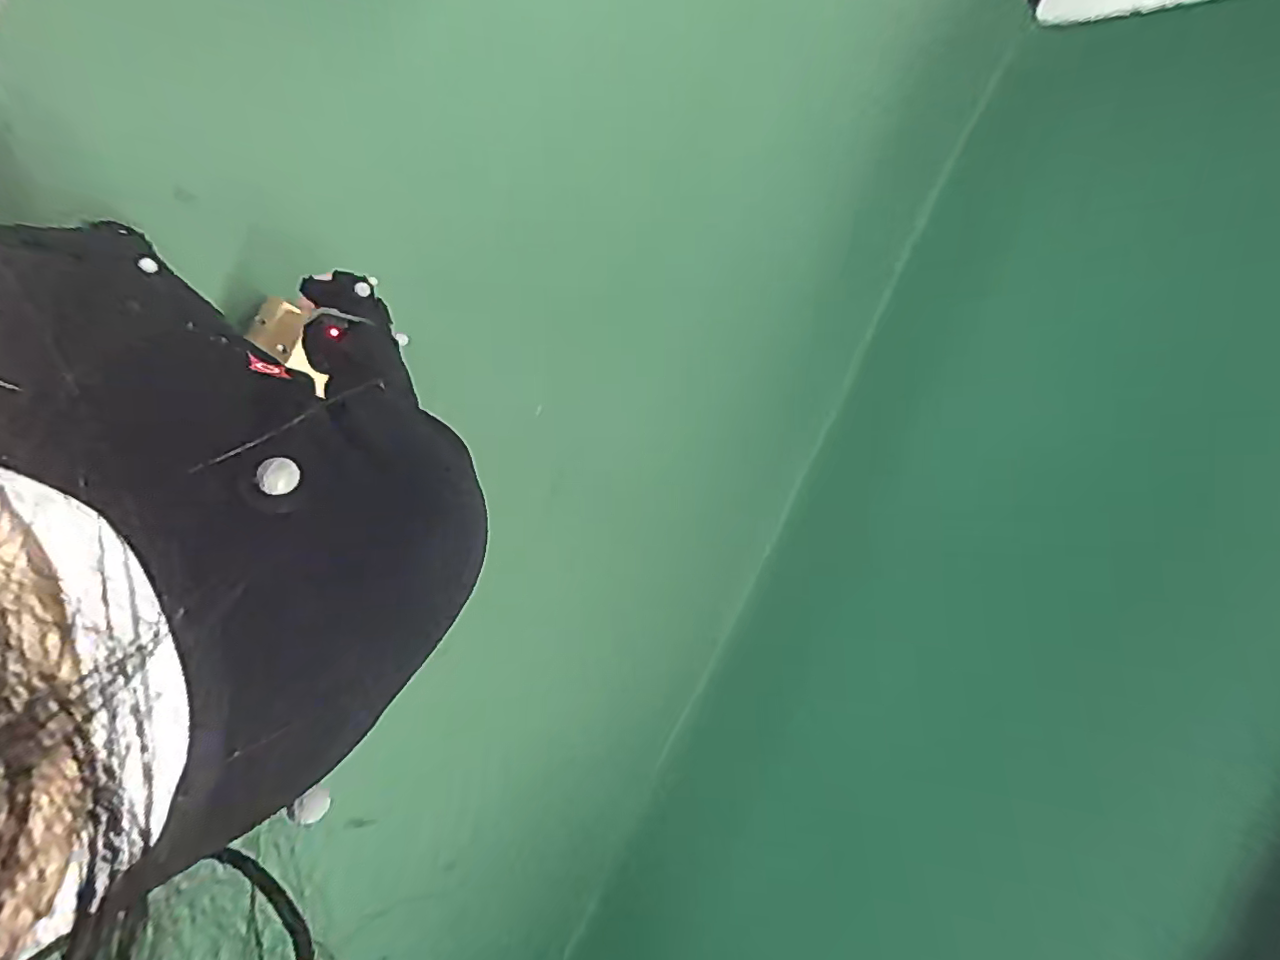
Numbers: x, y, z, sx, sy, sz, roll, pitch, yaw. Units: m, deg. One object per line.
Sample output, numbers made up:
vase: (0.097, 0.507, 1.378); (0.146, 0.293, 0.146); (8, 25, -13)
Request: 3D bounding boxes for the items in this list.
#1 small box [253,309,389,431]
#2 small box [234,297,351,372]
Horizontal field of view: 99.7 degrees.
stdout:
small box: (-0.659, -0.229, 1.111); (0.168, 0.176, 0.179); (29, 89, -48)
small box: (-0.771, -0.293, 1.213); (0.179, 0.176, 0.168); (30, 87, -48)
